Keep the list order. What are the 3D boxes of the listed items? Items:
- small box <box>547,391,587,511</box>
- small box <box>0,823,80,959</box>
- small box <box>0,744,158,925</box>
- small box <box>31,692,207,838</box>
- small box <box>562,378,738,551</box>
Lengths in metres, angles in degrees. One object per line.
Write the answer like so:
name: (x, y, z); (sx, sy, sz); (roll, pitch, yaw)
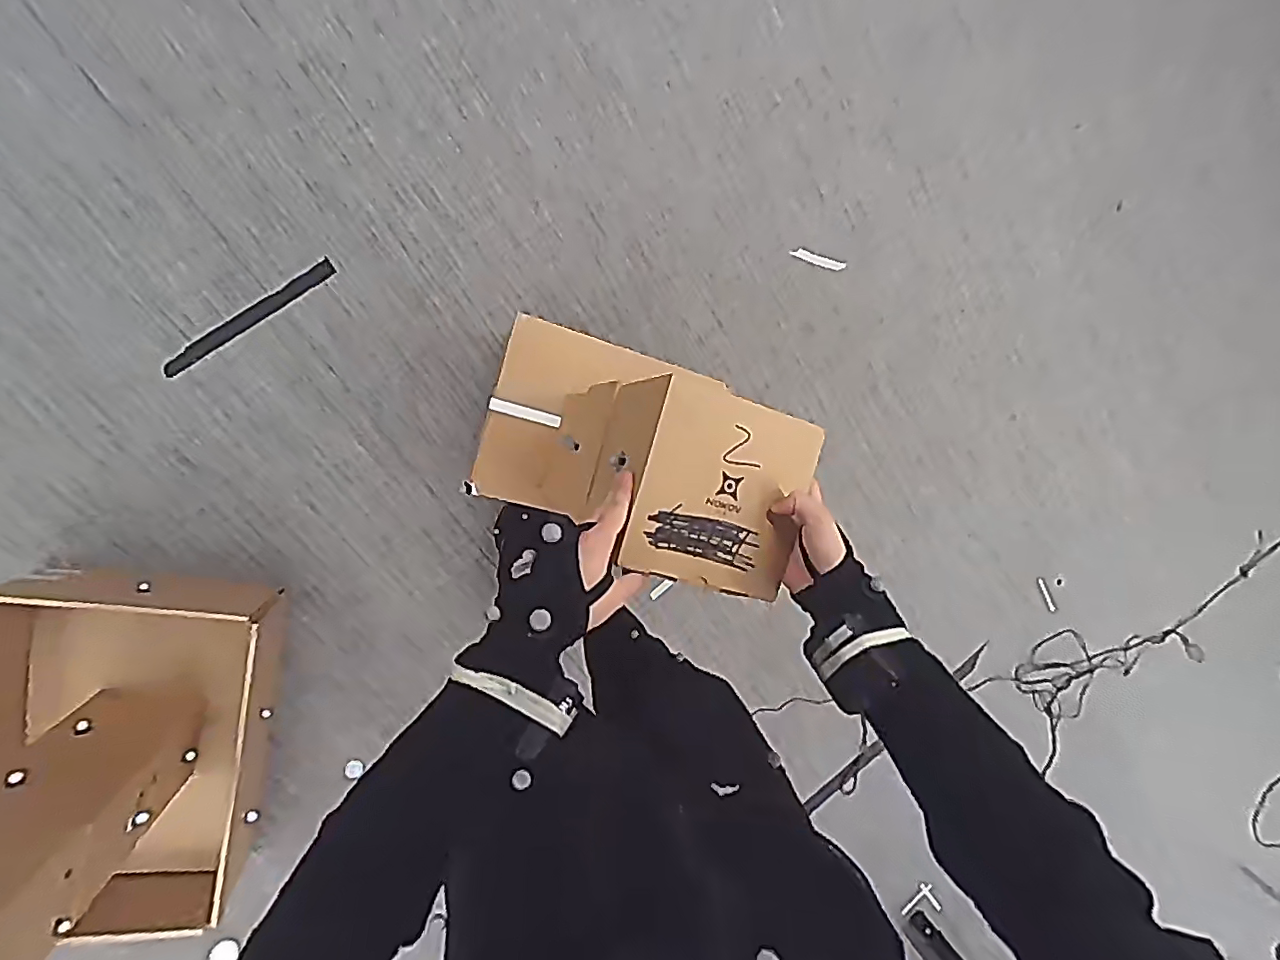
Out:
small box: (-0.047, -0.035, 0.875); (0.168, 0.176, 0.179); (15, 92, -19)
small box: (-0.844, 0.546, 0.654); (0.179, 0.176, 0.168); (11, 96, -16)
small box: (-0.885, 0.522, 0.812); (0.179, 0.176, 0.168); (12, 96, -18)
small box: (-0.929, 0.500, 0.966); (0.179, 0.176, 0.168); (13, 95, -18)
small box: (0.001, -0.024, 0.719); (0.168, 0.176, 0.179); (15, 93, -19)
